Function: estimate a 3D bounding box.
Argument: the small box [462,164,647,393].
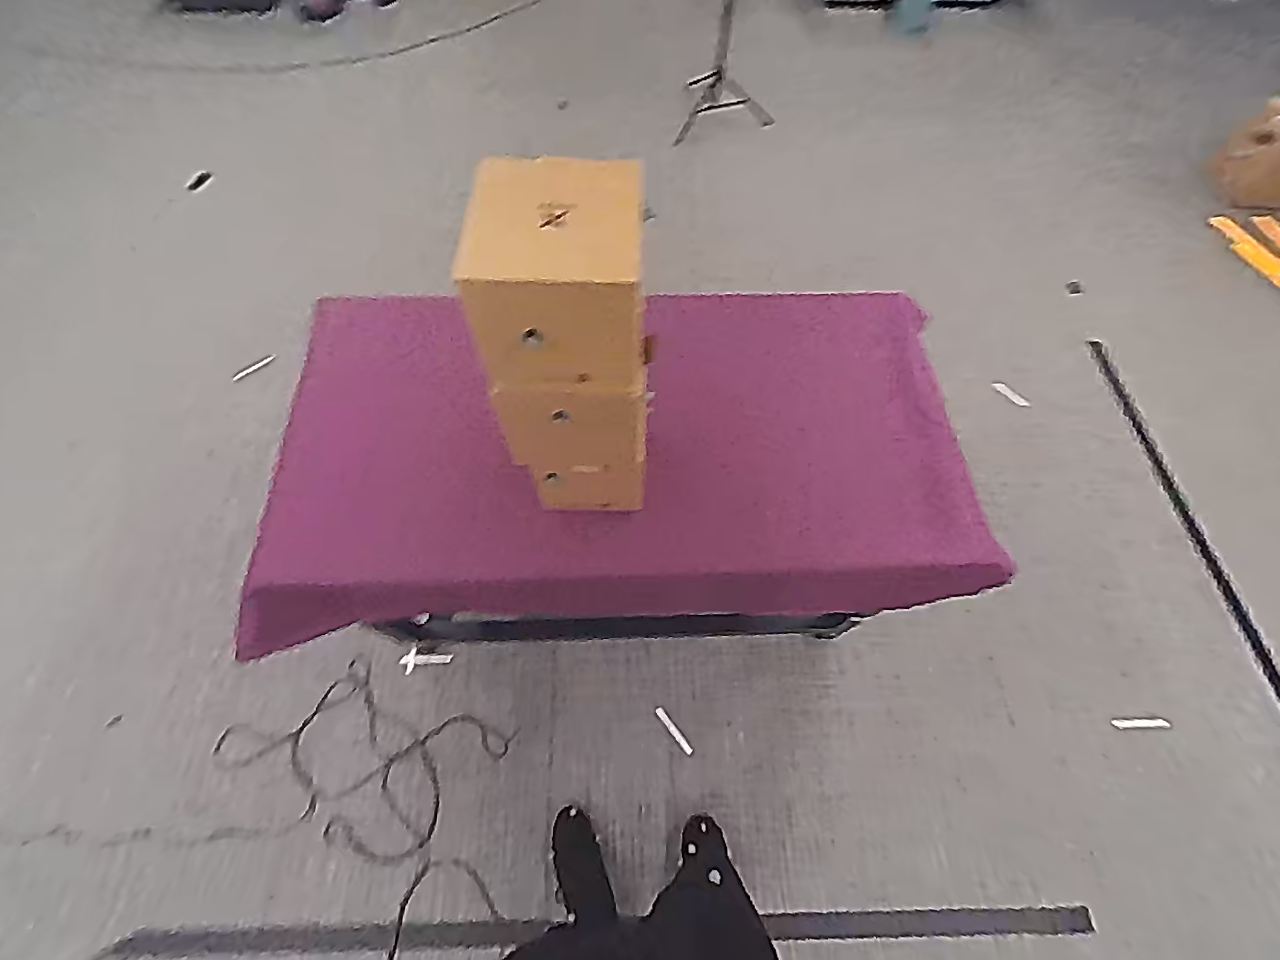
[{"bbox_3d":[-0.077,-0.210,0.588,0.168,0.176,0.179,1,61,-1],"label":"small box"}]

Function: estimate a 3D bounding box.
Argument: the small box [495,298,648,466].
[{"bbox_3d":[-0.080,-0.129,0.729,0.179,0.176,0.168,2,63,-1],"label":"small box"}]
